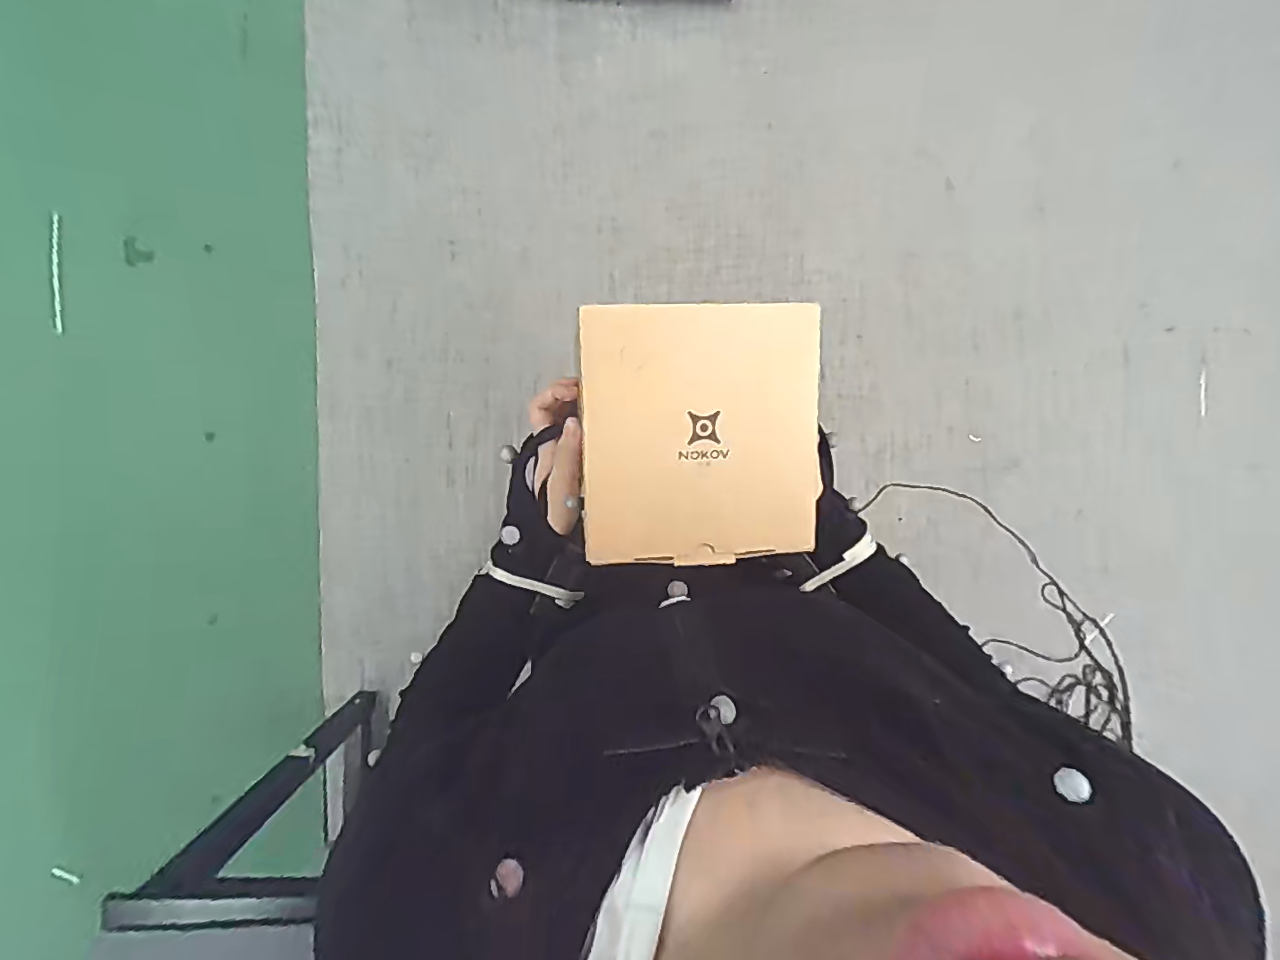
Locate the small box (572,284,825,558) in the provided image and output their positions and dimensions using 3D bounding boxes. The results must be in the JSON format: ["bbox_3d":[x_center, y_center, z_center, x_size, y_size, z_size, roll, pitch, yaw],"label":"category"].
[{"bbox_3d":[0.031,-0.047,0.431,0.168,0.176,0.179,-3,98,-7],"label":"small box"}]
